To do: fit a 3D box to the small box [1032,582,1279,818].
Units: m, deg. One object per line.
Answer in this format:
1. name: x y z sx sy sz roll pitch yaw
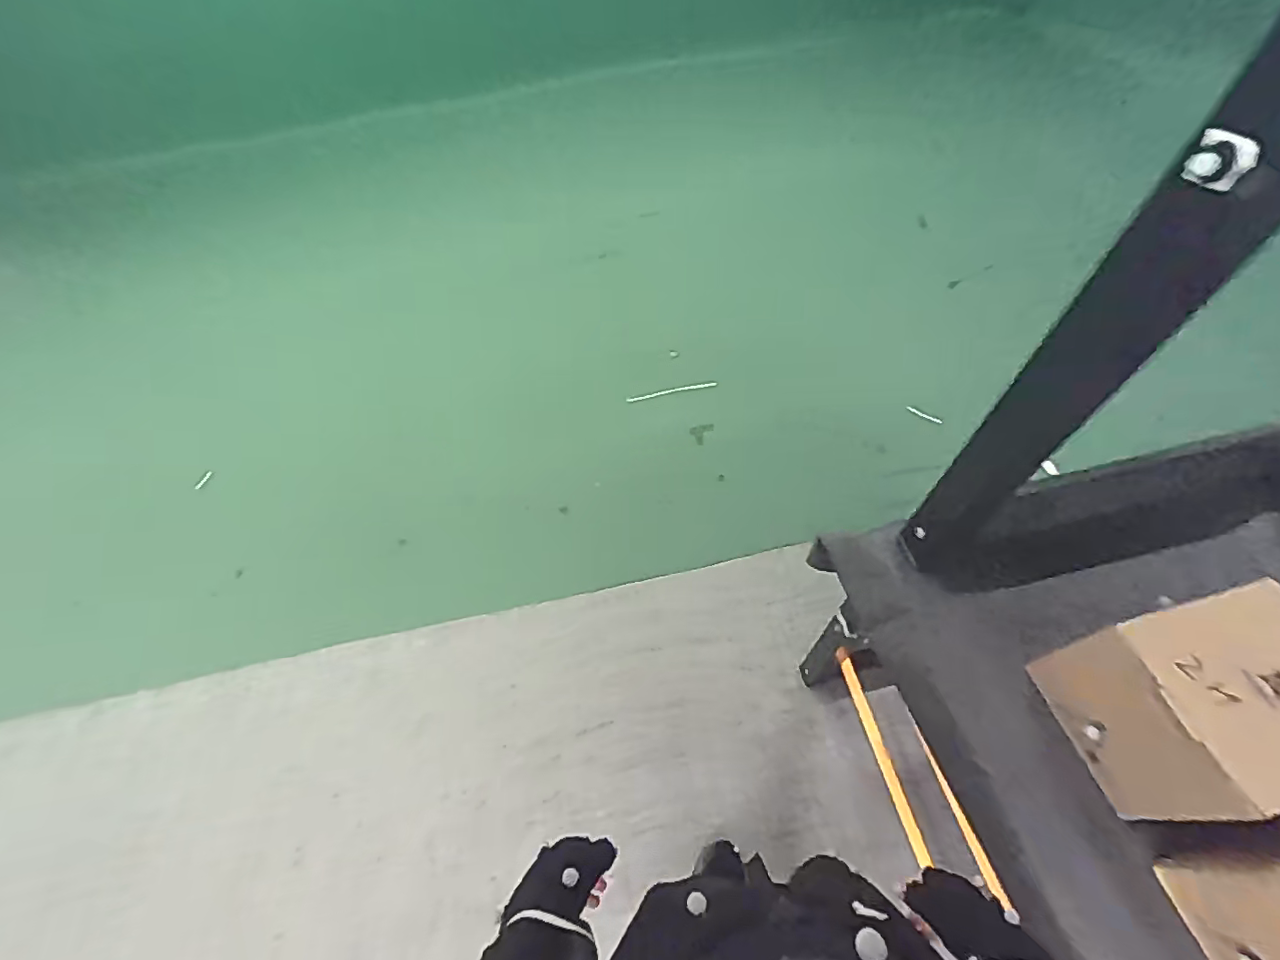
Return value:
1. small box: 0.563 0.227 0.550 0.179 0.176 0.168 -14 57 -4
